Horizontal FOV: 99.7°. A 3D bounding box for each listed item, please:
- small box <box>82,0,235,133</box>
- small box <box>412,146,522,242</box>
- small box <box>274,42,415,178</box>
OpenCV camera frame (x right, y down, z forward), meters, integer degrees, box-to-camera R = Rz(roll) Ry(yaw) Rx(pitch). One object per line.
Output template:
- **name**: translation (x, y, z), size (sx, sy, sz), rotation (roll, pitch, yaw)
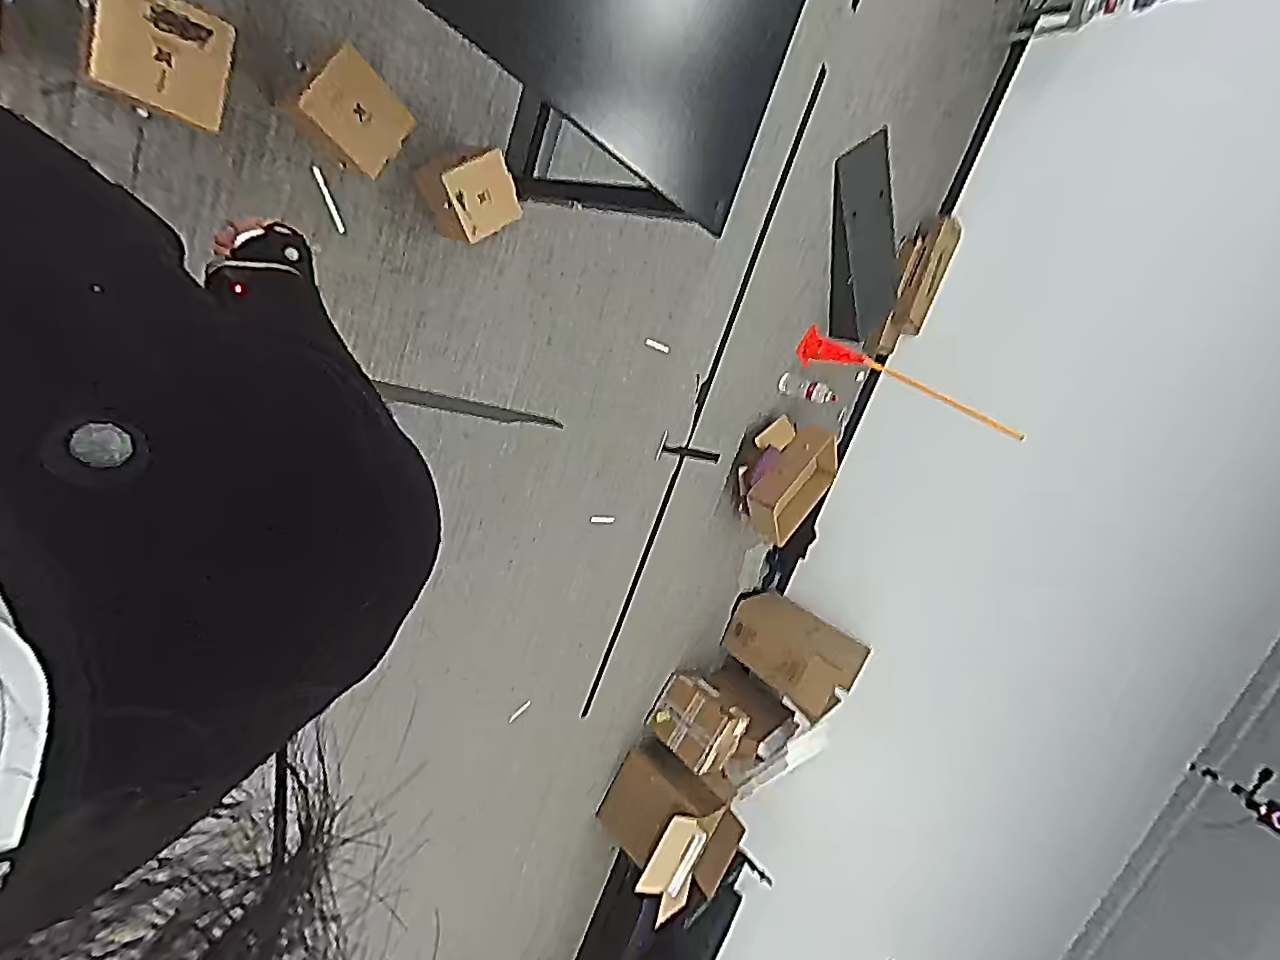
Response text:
- **small box**: translation (-0.832, -0.735, 0.930), size (0.168, 0.176, 0.179), rotation (5, 111, -51)
- **small box**: translation (-0.443, -0.737, 1.384), size (0.179, 0.176, 0.168), rotation (-43, 139, -23)
- **small box**: translation (-0.626, -0.778, 1.146), size (0.168, 0.176, 0.179), rotation (-58, 142, -6)
